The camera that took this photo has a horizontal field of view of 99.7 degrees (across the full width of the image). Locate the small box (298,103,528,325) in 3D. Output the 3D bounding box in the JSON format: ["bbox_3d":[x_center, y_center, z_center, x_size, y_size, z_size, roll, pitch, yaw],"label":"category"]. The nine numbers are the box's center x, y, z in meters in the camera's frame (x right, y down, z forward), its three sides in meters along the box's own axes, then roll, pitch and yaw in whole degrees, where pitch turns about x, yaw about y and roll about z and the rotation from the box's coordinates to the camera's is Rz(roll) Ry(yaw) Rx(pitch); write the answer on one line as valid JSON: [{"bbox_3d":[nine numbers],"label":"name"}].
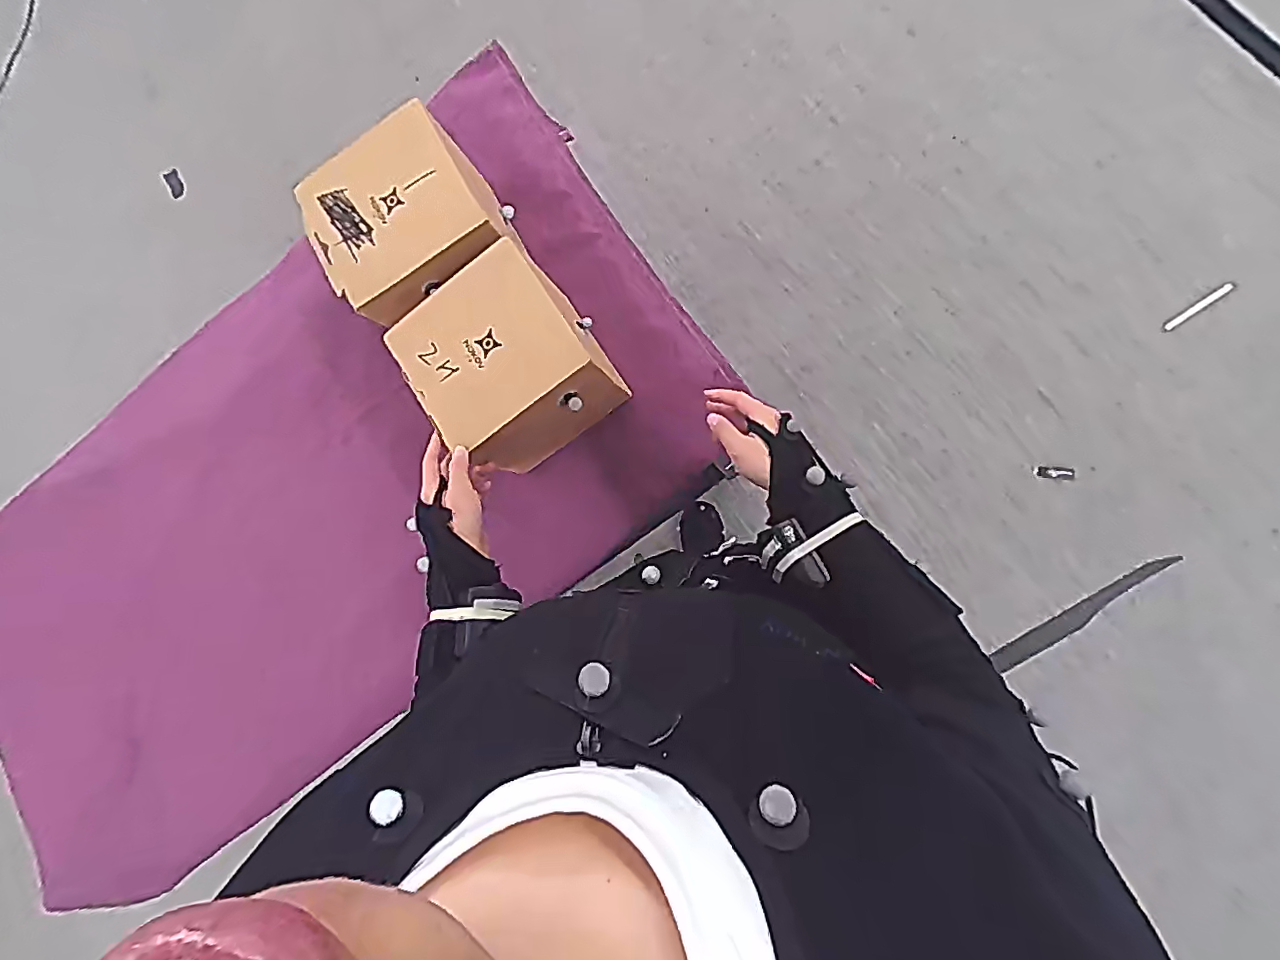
[{"bbox_3d":[-0.256,-0.290,0.659,0.179,0.176,0.168,-30,84,8],"label":"small box"}]

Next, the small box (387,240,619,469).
[{"bbox_3d":[-0.141,-0.129,0.628,0.179,0.176,0.168,-35,79,9],"label":"small box"}]
